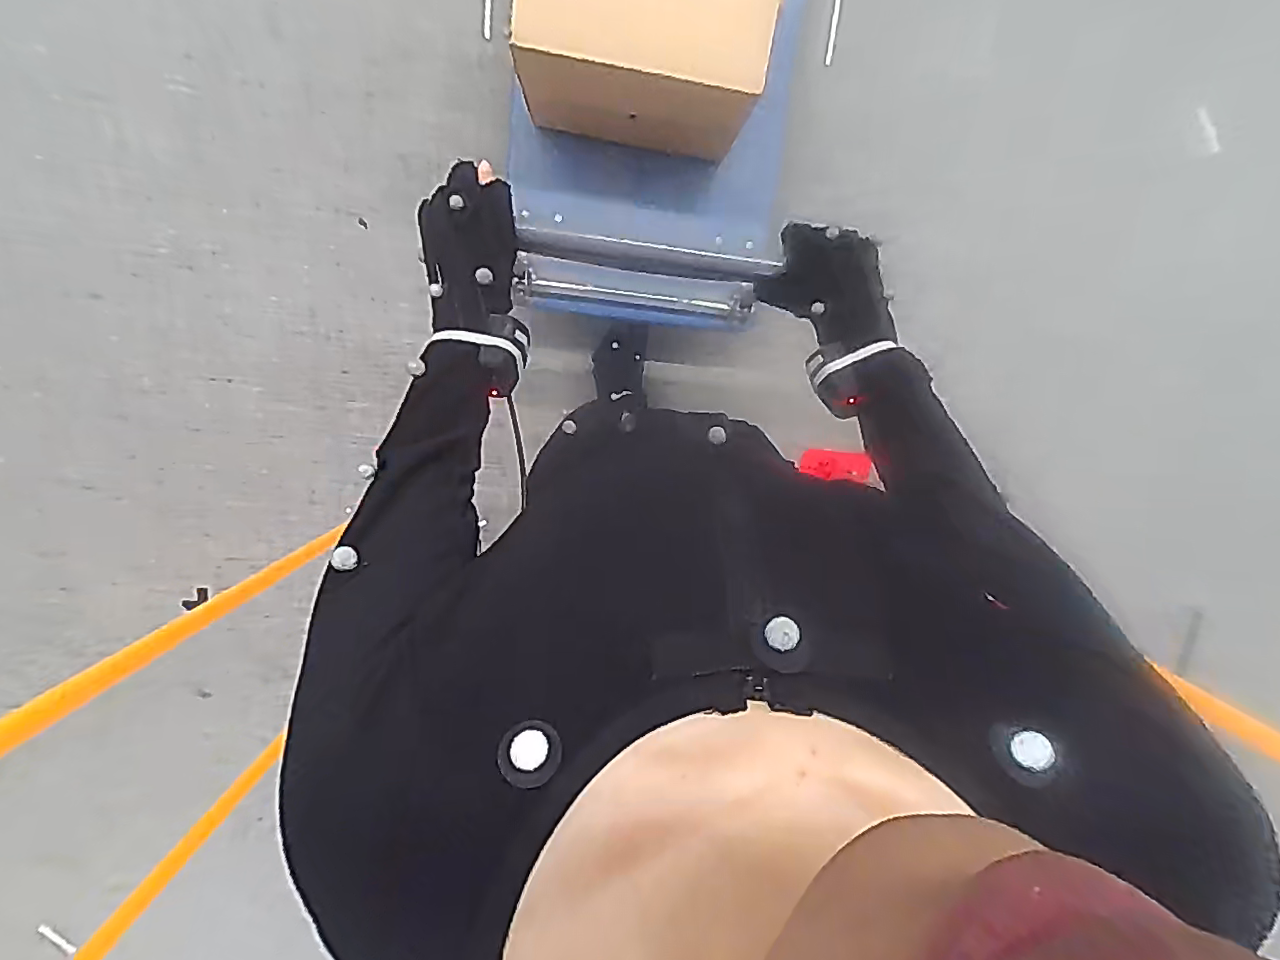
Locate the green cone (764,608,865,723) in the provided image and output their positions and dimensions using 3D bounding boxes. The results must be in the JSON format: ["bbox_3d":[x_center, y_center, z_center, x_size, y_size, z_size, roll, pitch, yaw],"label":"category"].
[{"bbox_3d":[0.491,0.518,1.441,0.202,0.368,0.200,8,102,-6],"label":"green cone"}]

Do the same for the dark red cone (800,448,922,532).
[{"bbox_3d":[0.559,0.052,1.325,0.201,0.394,0.202,4,102,-6],"label":"dark red cone"}]

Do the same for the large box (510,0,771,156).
[{"bbox_3d":[0.007,-0.825,0.968,0.408,0.320,0.320,8,102,-5],"label":"large box"}]
